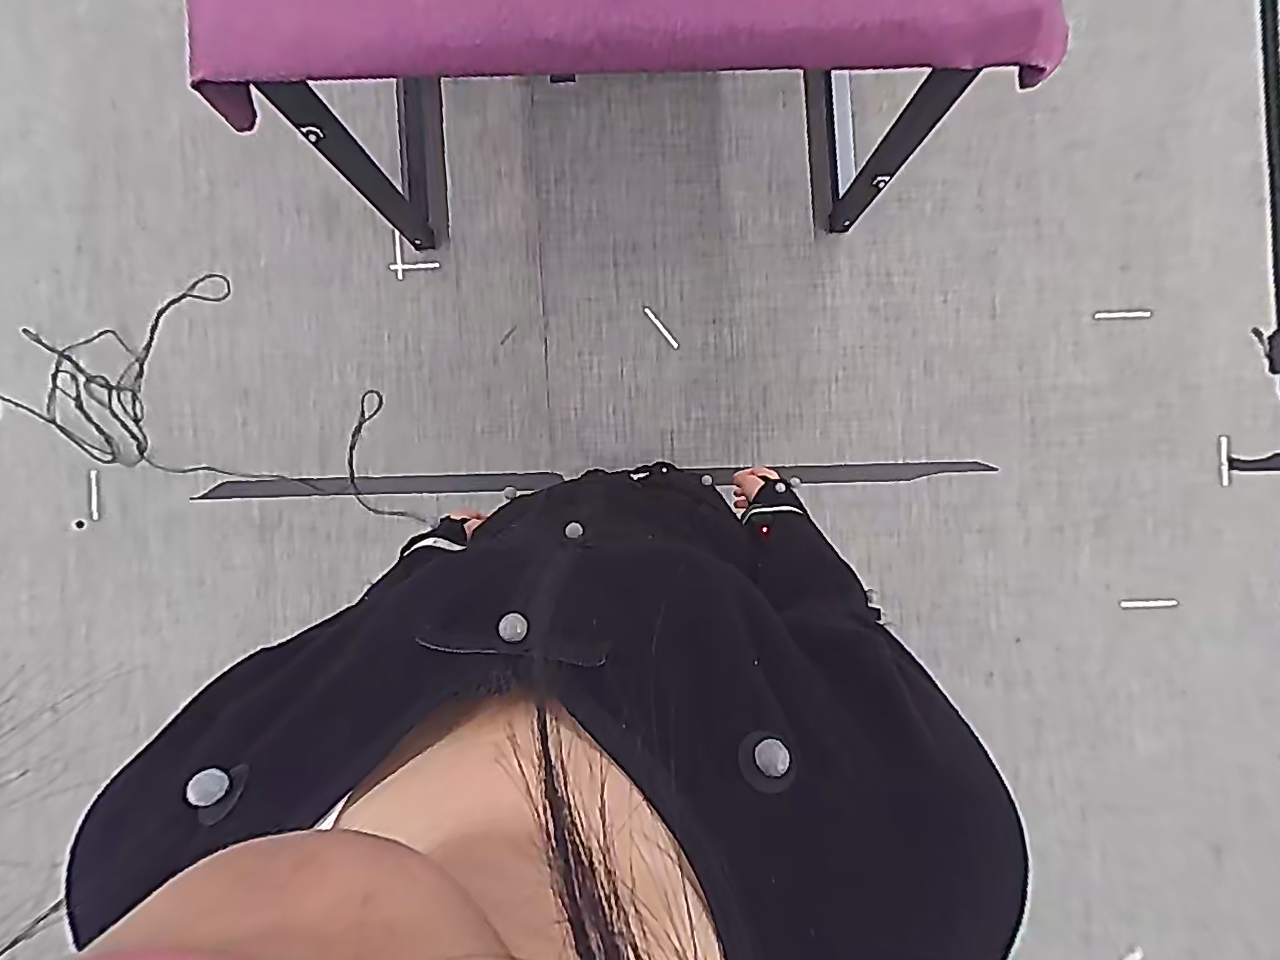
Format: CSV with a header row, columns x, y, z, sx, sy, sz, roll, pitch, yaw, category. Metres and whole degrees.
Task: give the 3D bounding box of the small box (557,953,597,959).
x,y,z,sx,sy,sz,roll,pitch,yaw,category
-0.180,1.404,1.413,0.168,0.176,0.179,-12,90,-2,small box
